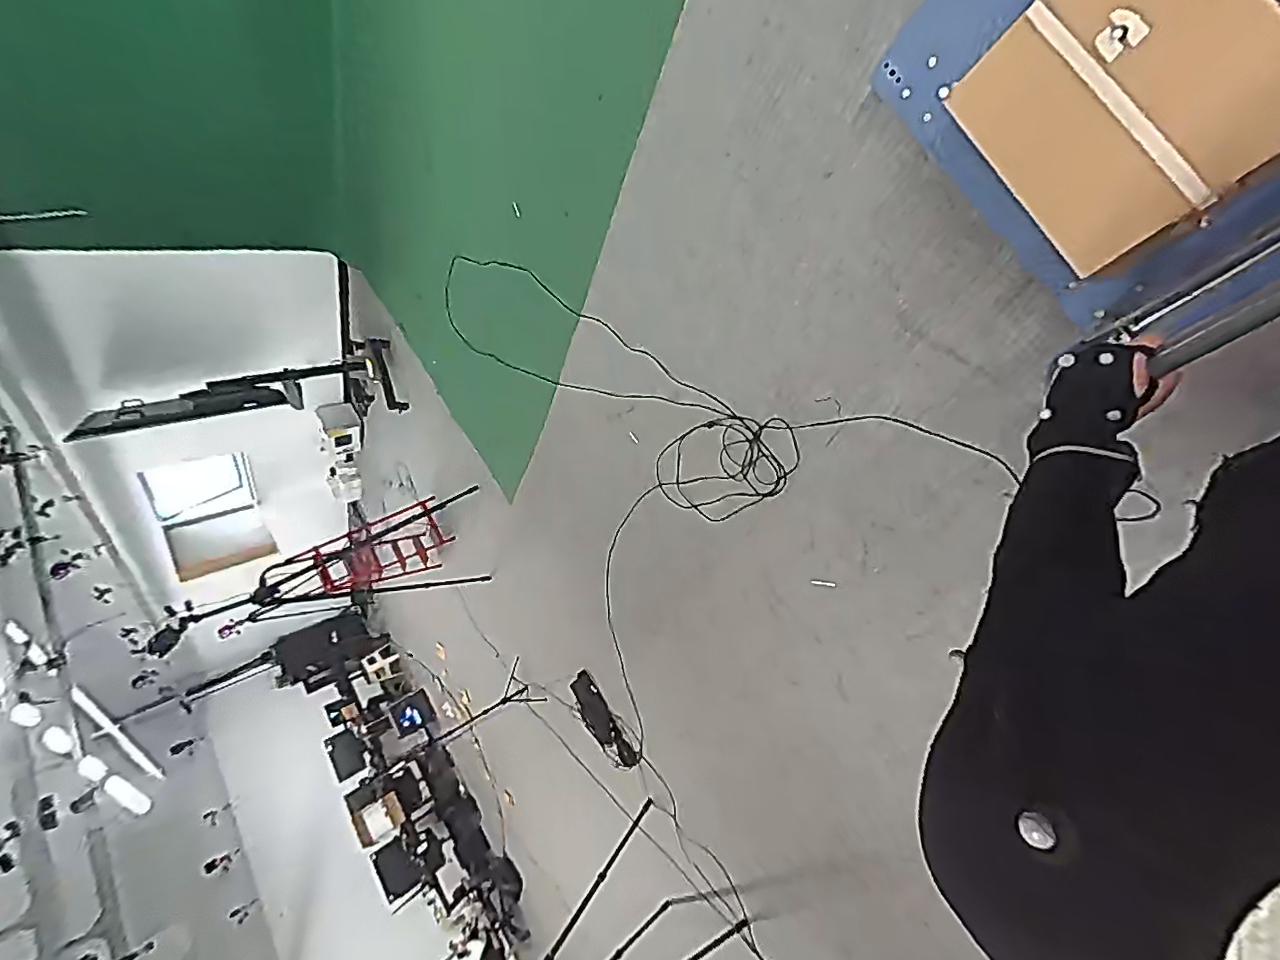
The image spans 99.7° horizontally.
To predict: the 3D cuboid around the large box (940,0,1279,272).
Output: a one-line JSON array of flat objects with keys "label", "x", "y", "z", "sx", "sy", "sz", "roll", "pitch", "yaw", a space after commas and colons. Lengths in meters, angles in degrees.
[{"label": "large box", "x": 0.805, "y": -0.607, "z": 0.890, "sx": 0.320, "sy": 0.320, "sz": 0.408, "roll": -42, "pitch": 73, "yaw": 49}]
